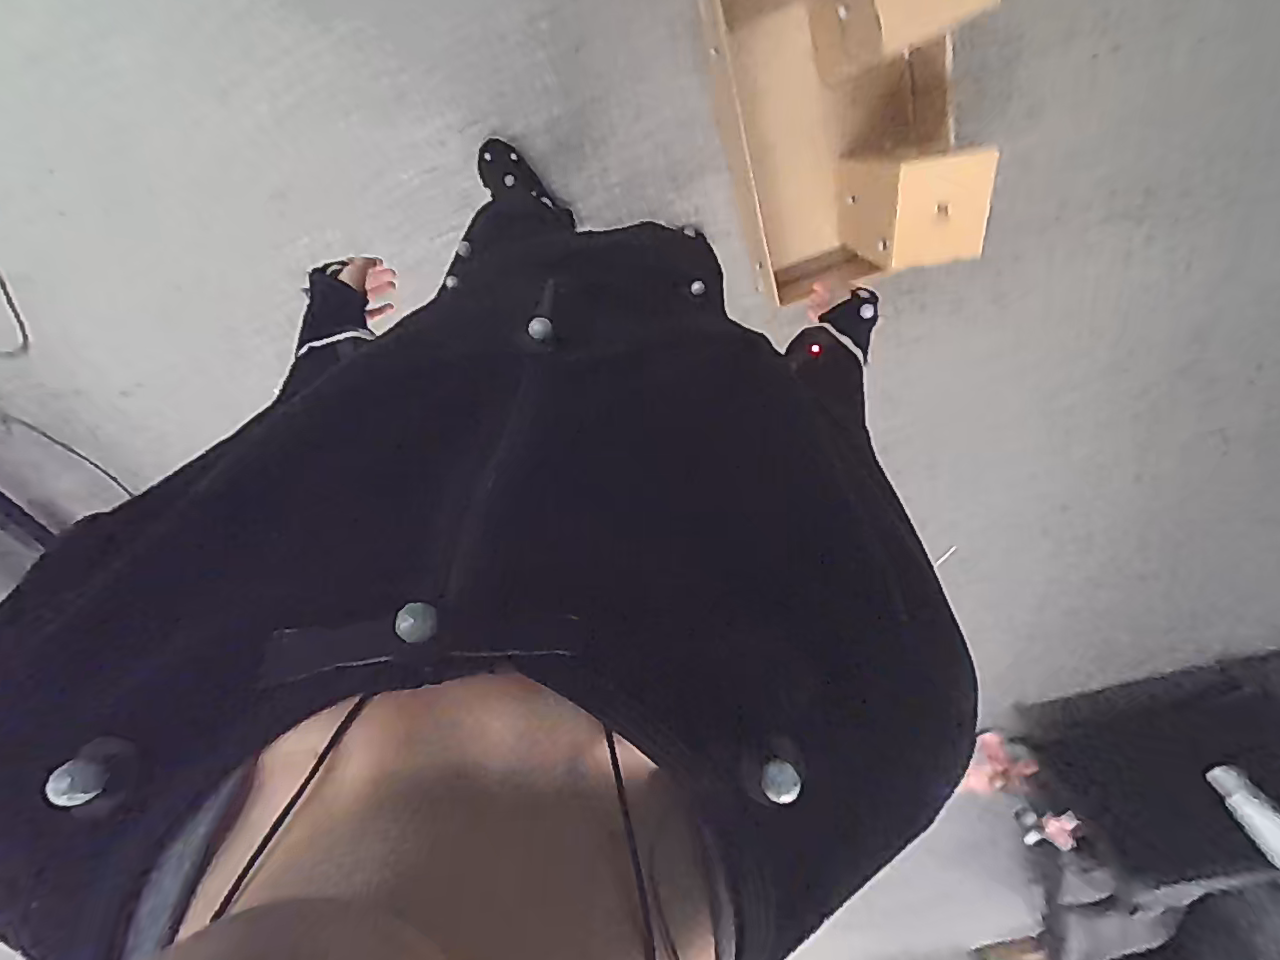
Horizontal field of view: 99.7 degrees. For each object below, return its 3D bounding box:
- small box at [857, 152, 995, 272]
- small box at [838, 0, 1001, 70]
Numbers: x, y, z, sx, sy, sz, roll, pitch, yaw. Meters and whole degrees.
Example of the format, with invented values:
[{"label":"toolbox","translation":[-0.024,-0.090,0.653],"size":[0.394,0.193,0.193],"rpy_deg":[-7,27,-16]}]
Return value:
[{"label":"small box","translation":[0.525,-0.507,1.020],"size":[0.168,0.176,0.179],"rpy_deg":[-7,122,3]},{"label":"small box","translation":[0.425,-0.776,0.843],"size":[0.179,0.176,0.168],"rpy_deg":[-18,120,11]}]
